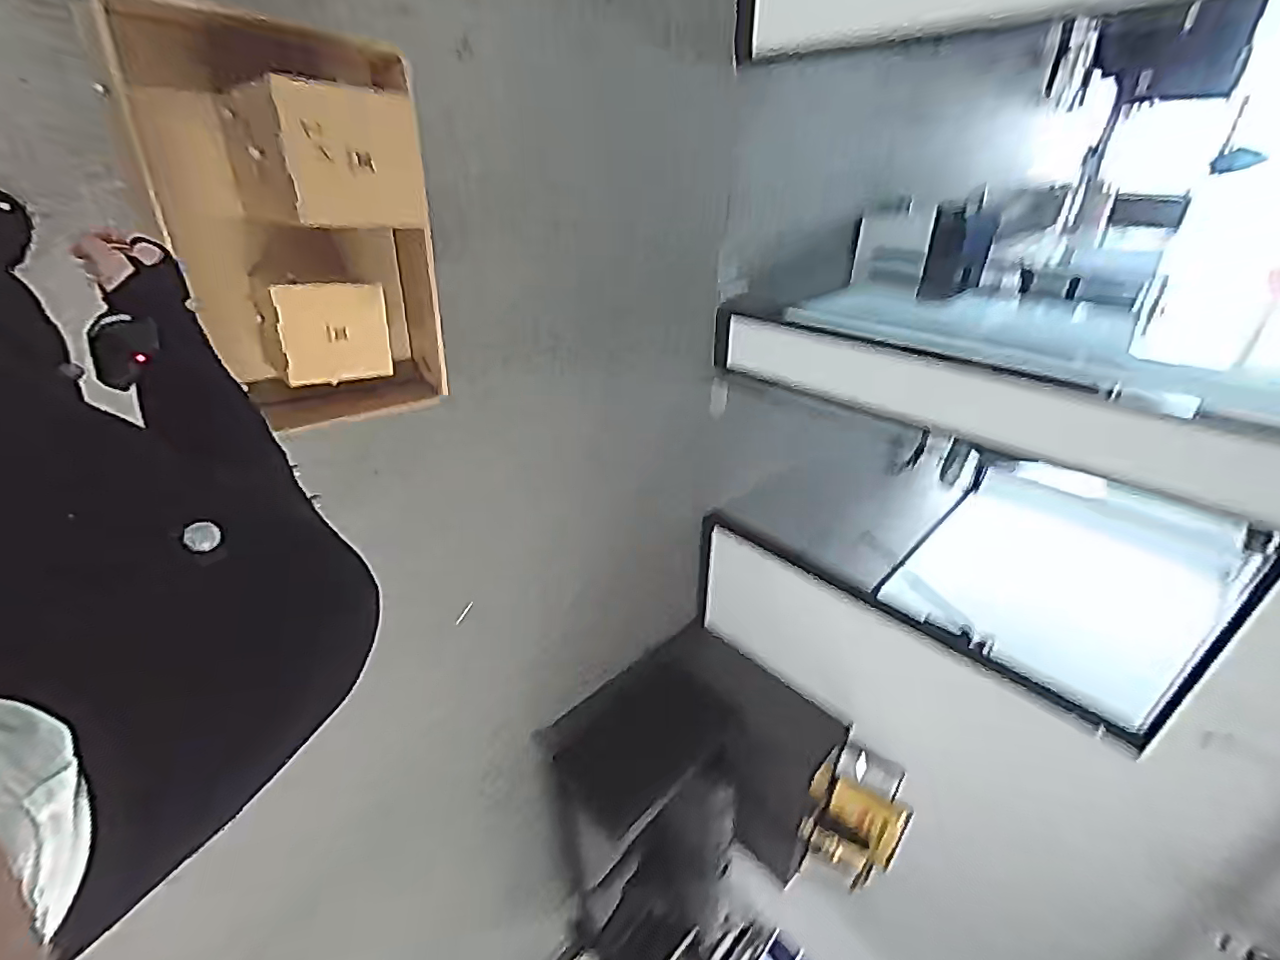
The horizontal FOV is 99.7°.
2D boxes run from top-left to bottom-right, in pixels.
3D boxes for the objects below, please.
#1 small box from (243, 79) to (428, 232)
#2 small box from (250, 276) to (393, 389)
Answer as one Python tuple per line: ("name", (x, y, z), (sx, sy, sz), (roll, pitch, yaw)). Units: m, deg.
("small box", (-0.434, -0.457, 0.780), (0.179, 0.176, 0.168), (-21, 126, -39))
("small box", (-0.580, -0.278, 0.991), (0.179, 0.176, 0.168), (-18, 125, -39))
